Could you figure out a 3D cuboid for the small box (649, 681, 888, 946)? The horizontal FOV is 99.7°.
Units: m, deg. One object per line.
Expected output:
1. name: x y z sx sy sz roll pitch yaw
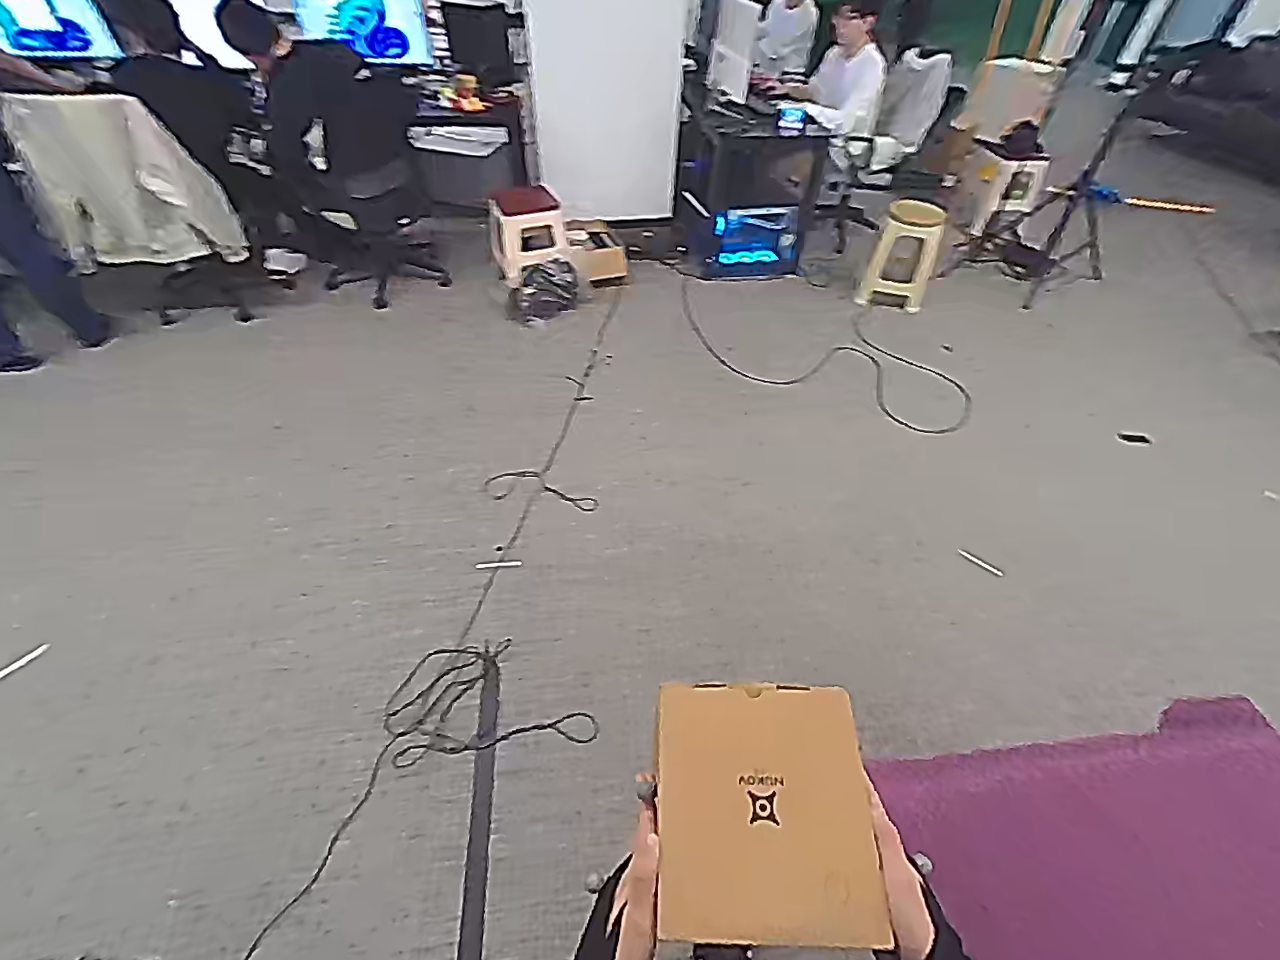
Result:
1. small box: 0.093 0.295 0.486 0.168 0.176 0.179 1 53 0
